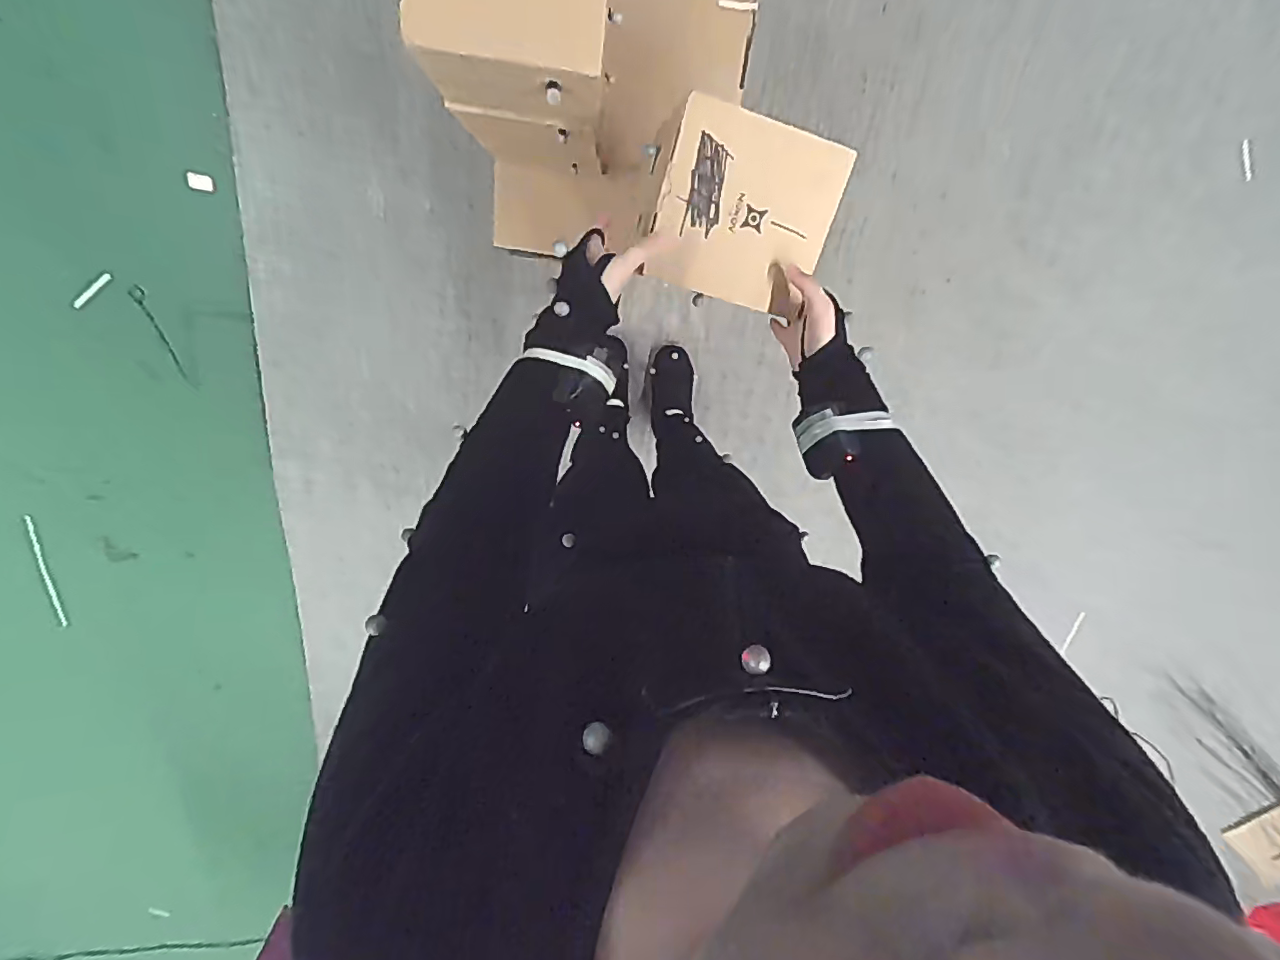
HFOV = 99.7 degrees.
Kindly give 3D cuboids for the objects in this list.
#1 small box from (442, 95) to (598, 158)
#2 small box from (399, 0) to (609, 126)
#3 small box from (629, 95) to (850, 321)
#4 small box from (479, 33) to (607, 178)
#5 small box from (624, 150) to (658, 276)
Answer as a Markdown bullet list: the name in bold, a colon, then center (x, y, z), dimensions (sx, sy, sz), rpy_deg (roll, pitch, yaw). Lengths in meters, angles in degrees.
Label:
- **small box**: center (-0.140, -0.523, 0.682), dimensions (0.179, 0.176, 0.168), rpy_deg (4, 110, -7)
- **small box**: center (-0.119, -0.469, 0.527), dimensions (0.179, 0.176, 0.168), rpy_deg (6, 109, -6)
- **small box**: center (0.092, -0.290, 0.608), dimensions (0.179, 0.176, 0.168), rpy_deg (13, 111, -11)
- **small box**: center (-0.144, -0.578, 0.835), dimensions (0.179, 0.176, 0.168), rpy_deg (4, 110, -5)
- **small box**: center (0.068, -0.423, 0.909), dimensions (0.168, 0.176, 0.179), rpy_deg (9, 110, -8)
